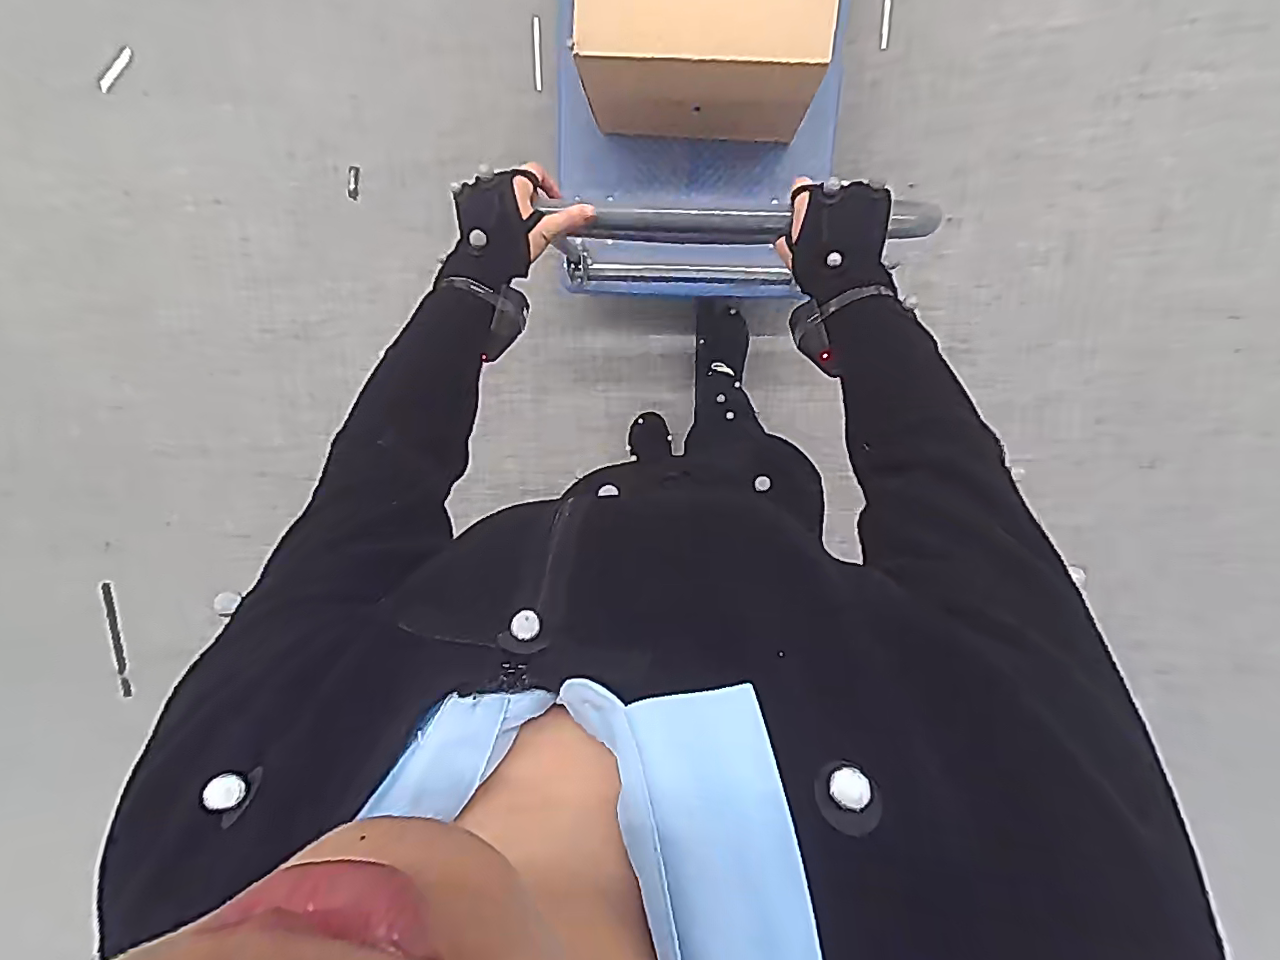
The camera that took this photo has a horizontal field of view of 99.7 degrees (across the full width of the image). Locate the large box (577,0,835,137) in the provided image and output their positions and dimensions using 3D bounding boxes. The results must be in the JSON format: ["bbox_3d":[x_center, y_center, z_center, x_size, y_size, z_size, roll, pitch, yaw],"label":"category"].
[{"bbox_3d":[0.118,-0.843,0.968,0.408,0.320,0.320,4,102,4],"label":"large box"}]
